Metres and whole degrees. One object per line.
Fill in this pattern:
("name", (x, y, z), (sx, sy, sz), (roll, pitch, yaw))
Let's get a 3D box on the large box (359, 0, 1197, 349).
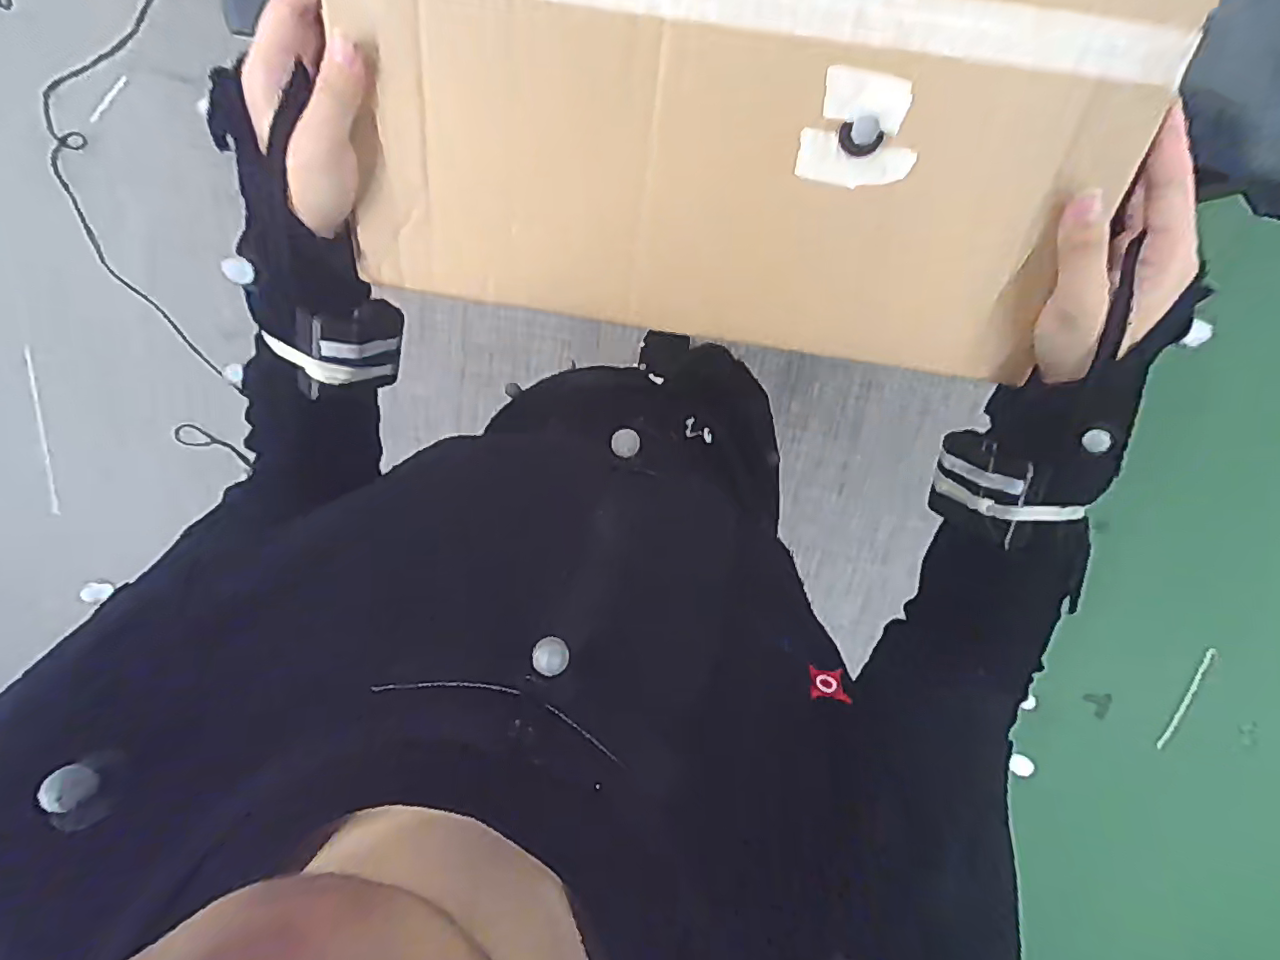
("large box", (0.067, -0.308, 0.388), (0.408, 0.320, 0.320), (8, 120, 0))
